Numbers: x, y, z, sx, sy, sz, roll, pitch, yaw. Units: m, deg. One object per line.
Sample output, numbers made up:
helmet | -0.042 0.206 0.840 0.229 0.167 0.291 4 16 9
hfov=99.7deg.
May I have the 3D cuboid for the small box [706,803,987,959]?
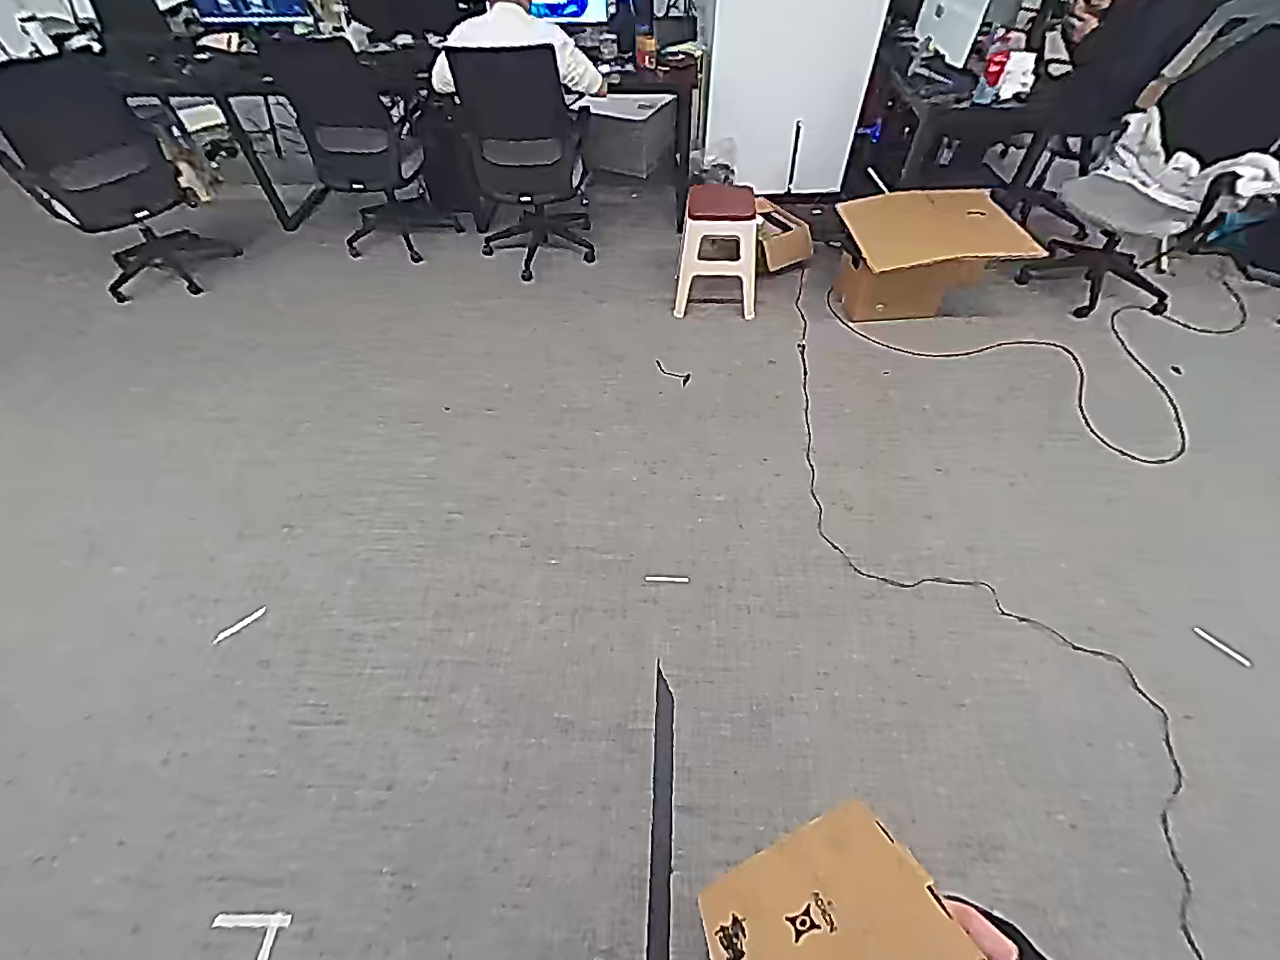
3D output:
small box | 0.179 0.418 0.433 0.179 0.168 0.176 -28 93 -3
